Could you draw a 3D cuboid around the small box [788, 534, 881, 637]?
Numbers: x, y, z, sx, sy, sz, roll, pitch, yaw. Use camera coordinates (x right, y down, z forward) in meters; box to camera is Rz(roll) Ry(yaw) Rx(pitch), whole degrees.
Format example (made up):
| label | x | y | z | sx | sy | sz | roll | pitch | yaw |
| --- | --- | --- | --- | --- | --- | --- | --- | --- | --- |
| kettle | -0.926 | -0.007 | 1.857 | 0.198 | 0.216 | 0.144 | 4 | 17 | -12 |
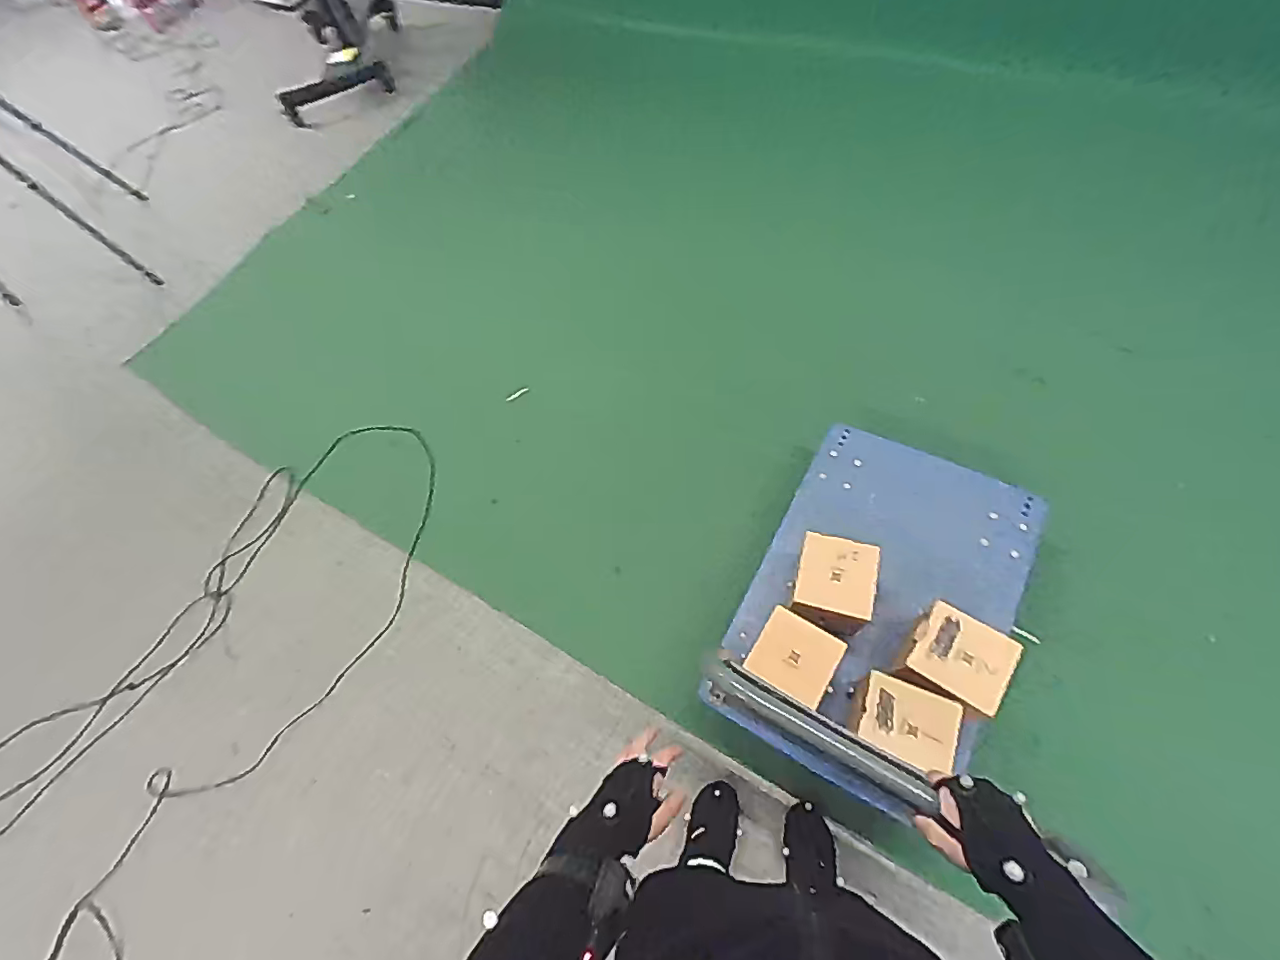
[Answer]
| label | x | y | z | sx | sy | sz | roll | pitch | yaw |
| --- | --- | --- | --- | --- | --- | --- | --- | --- | --- |
| small box | 0.452 | 0.255 | 1.277 | 0.168 | 0.176 | 0.179 | 14 | 66 | 15 |
